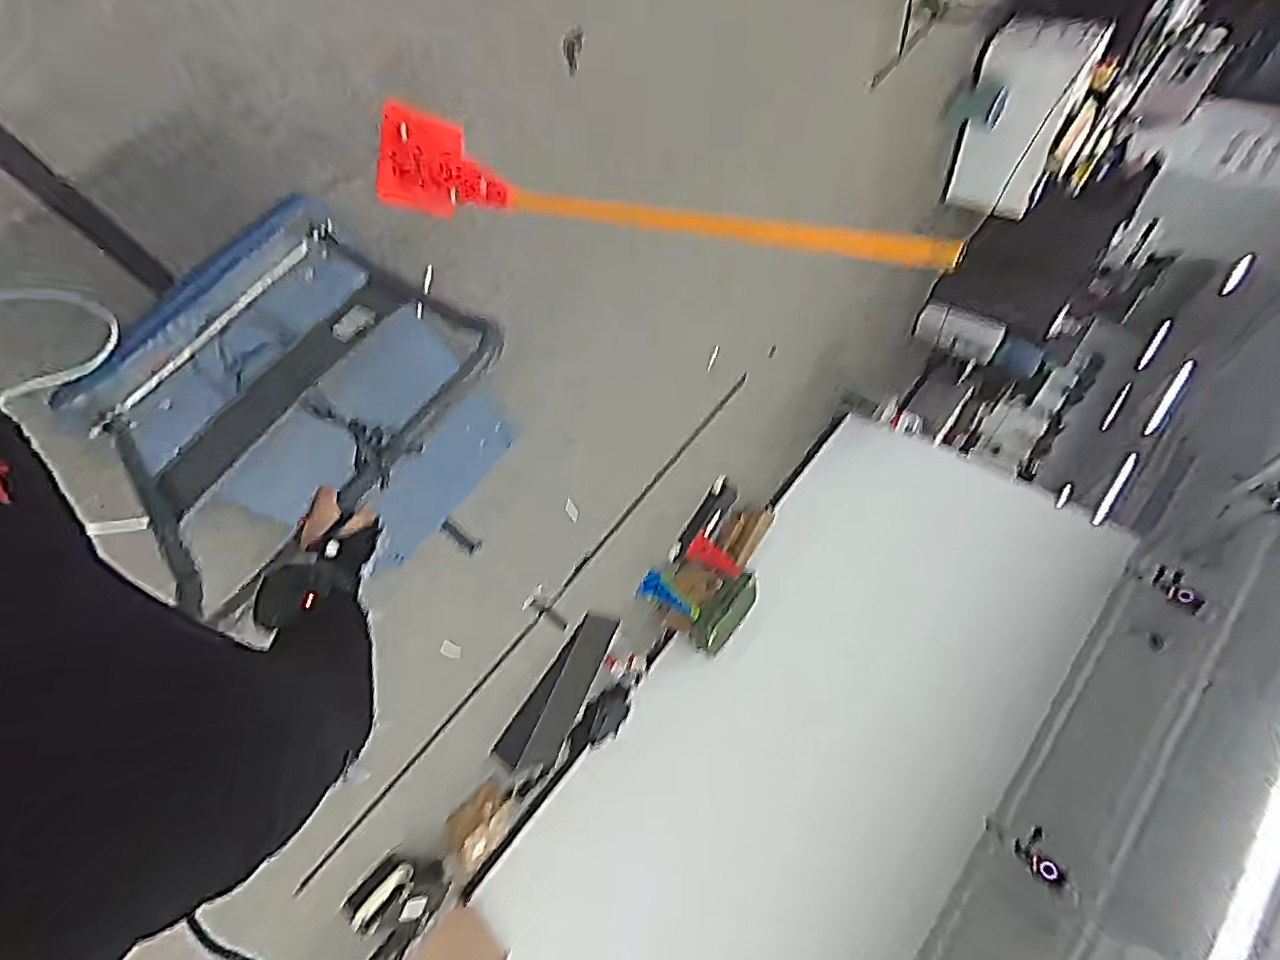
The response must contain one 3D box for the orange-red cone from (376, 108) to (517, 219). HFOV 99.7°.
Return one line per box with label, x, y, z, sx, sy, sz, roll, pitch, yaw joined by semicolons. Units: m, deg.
orange-red cone;-0.392;-0.649;1.191;0.198;0.360;0.199;-13;131;-51
